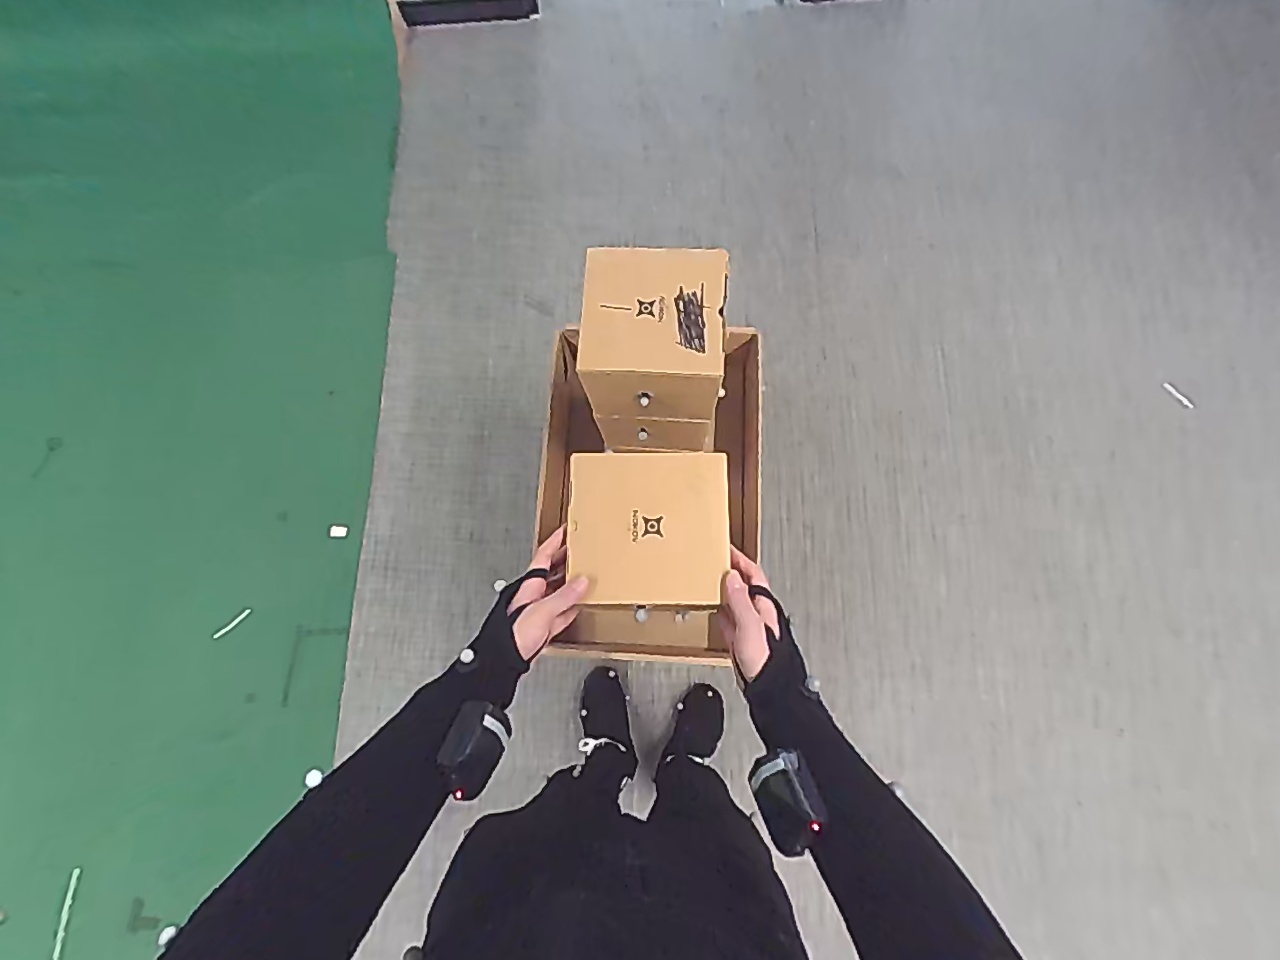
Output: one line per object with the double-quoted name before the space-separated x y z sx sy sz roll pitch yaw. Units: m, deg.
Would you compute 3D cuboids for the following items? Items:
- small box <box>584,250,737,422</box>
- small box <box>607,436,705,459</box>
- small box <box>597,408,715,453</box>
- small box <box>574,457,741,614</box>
"small box" 0.029 -0.183 0.727 0.179 0.176 0.168 4 78 4
"small box" 0.038 -0.108 1.048 0.179 0.176 0.168 6 78 3
"small box" 0.034 -0.147 0.888 0.179 0.176 0.168 4 79 4
"small box" 0.021 0.074 0.656 0.179 0.176 0.168 0 75 2
